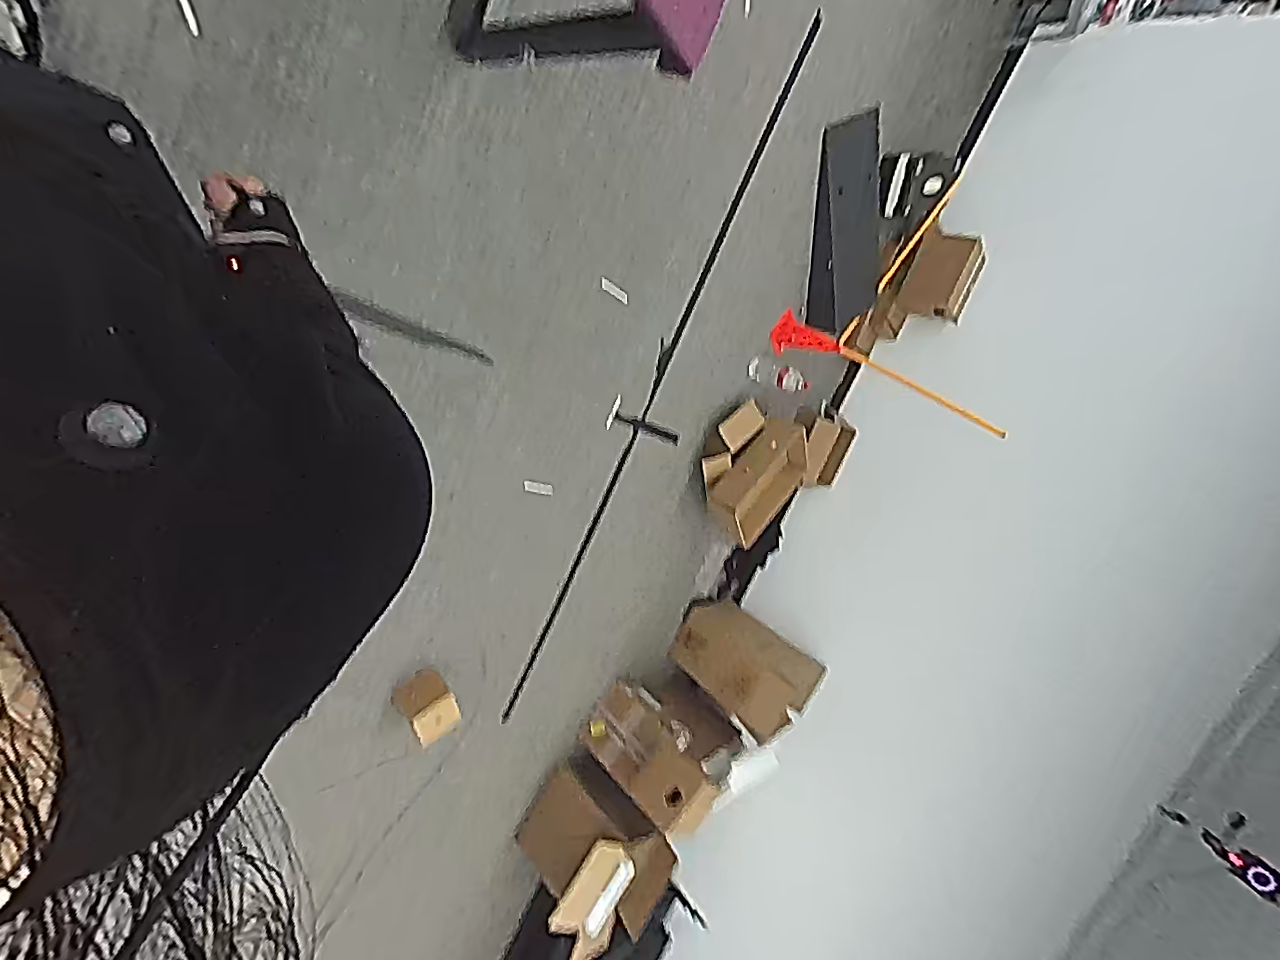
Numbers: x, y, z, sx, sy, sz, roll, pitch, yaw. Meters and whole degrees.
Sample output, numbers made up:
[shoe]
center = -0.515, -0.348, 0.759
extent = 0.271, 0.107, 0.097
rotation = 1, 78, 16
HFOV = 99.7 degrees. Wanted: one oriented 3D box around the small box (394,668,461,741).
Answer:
[small box]
center = -0.825, 0.859, 2.092
extent = 0.168, 0.176, 0.179
rotation = -31, 138, -33
